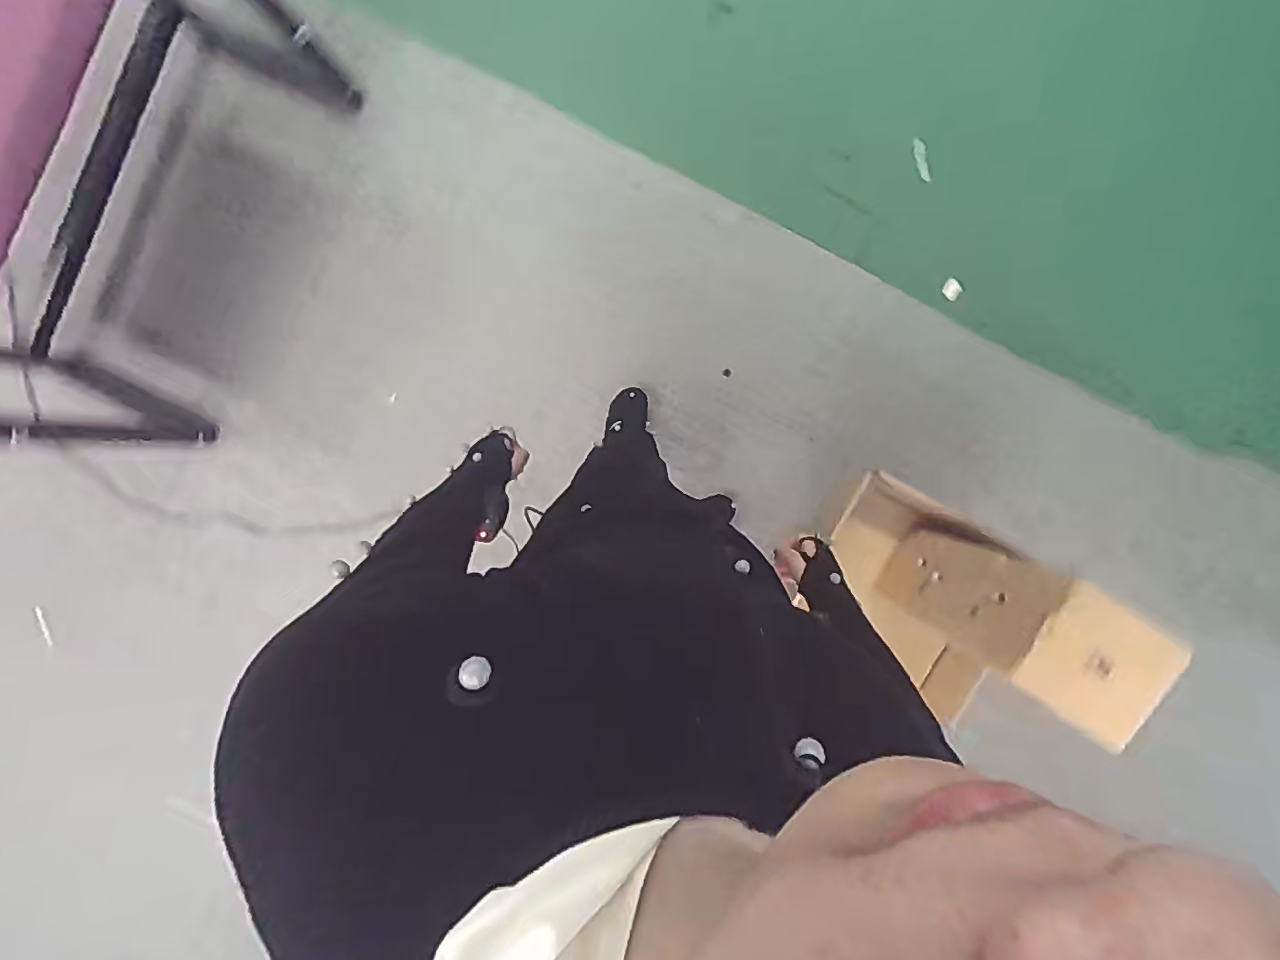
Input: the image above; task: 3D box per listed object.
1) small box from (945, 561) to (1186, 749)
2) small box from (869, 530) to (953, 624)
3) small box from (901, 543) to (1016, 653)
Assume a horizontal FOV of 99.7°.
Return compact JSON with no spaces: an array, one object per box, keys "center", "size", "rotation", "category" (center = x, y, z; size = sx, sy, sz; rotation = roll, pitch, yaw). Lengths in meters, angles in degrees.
[{"center":[0.599,0.238,0.788],"size":[0.179,0.176,0.168],"rotation":[35,94,1],"category":"small box"},{"center":[0.614,0.218,1.113],"size":[0.179,0.176,0.168],"rotation":[31,94,1],"category":"small box"},{"center":[0.607,0.228,0.950],"size":[0.179,0.176,0.168],"rotation":[34,93,1],"category":"small box"}]
